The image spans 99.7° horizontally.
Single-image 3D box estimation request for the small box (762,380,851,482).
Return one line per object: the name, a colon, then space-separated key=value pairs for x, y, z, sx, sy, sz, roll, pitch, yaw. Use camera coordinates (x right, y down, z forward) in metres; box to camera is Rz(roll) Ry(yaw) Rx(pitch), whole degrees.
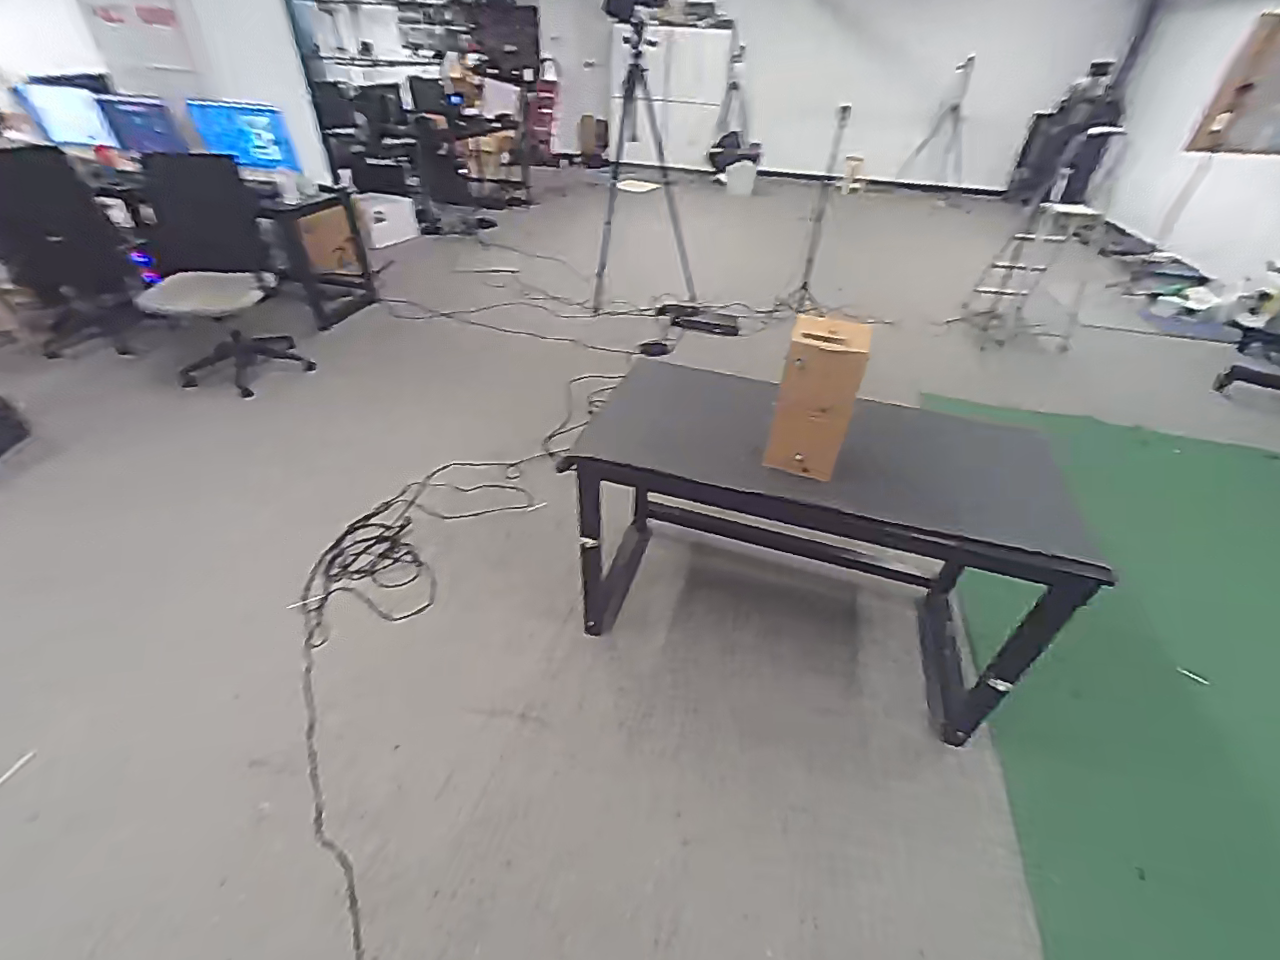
small box: x=0.409 y=-0.123 z=1.339 sx=0.168 sy=0.176 sz=0.179 roll=15 pitch=39 yaw=17
